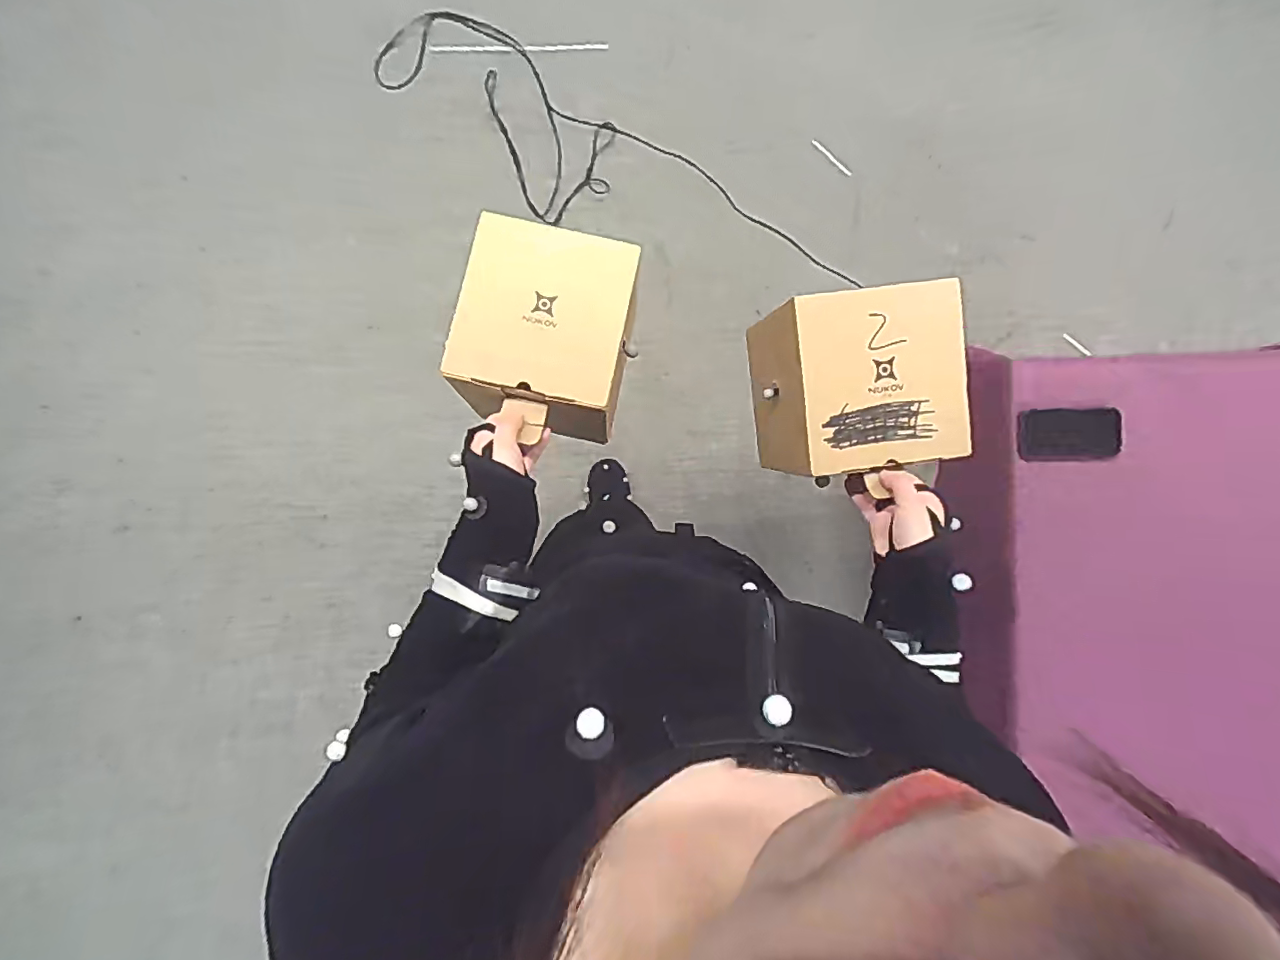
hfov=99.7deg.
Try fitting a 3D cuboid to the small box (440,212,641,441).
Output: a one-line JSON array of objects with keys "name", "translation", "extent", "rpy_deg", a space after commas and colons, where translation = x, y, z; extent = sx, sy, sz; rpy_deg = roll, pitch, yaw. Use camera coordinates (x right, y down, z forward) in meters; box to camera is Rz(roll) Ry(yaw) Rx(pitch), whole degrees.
[{"name": "small box", "translation": [-0.102, -0.157, 0.609], "extent": [0.168, 0.176, 0.179], "rpy_deg": [12, 82, -2]}]
